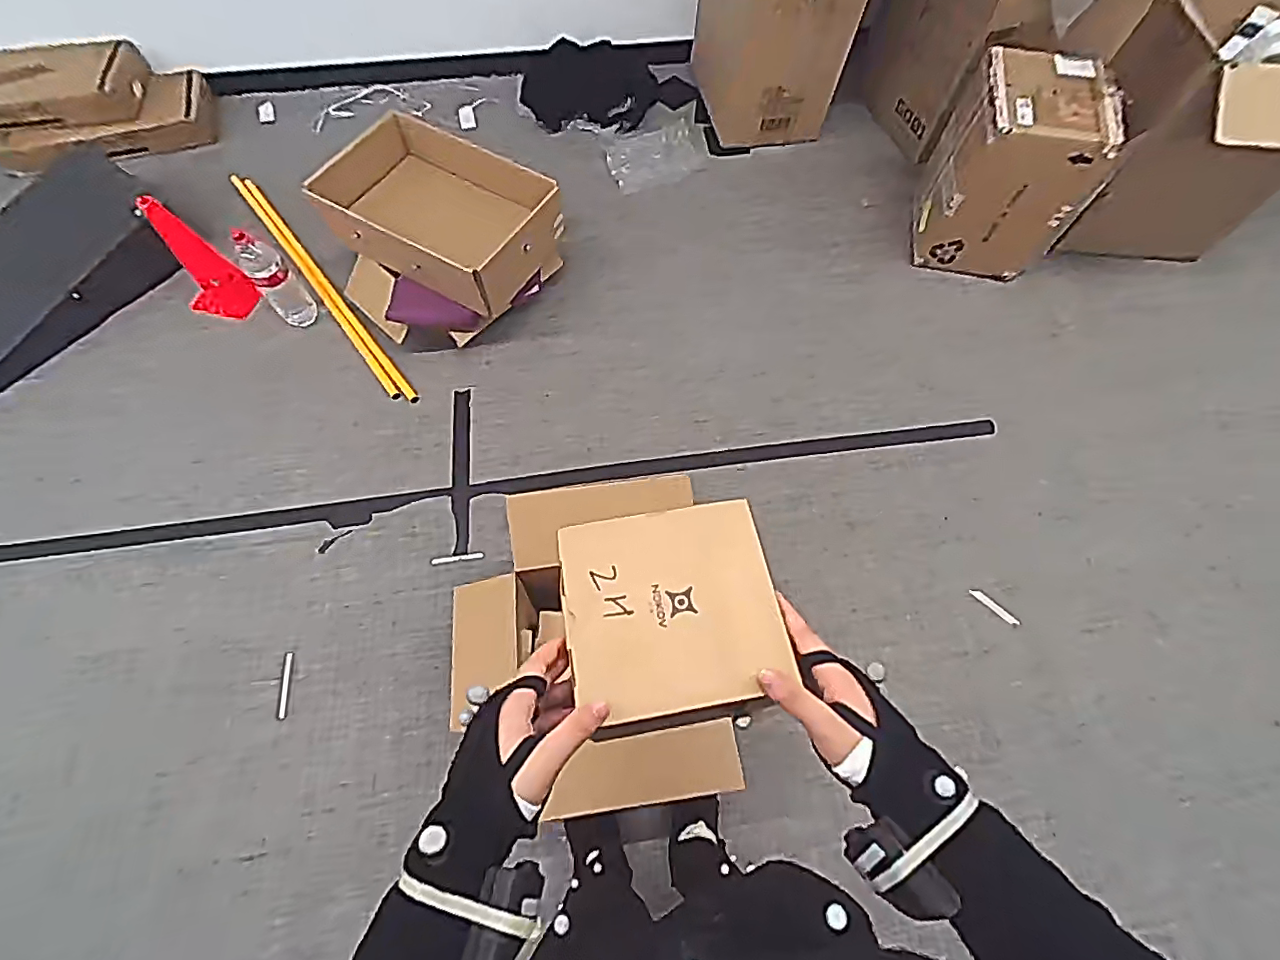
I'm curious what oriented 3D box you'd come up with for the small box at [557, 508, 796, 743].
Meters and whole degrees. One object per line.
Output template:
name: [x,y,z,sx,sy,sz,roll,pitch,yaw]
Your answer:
small box: [0.024,0.145,0.516,0.179,0.176,0.168,-9,61,-4]
